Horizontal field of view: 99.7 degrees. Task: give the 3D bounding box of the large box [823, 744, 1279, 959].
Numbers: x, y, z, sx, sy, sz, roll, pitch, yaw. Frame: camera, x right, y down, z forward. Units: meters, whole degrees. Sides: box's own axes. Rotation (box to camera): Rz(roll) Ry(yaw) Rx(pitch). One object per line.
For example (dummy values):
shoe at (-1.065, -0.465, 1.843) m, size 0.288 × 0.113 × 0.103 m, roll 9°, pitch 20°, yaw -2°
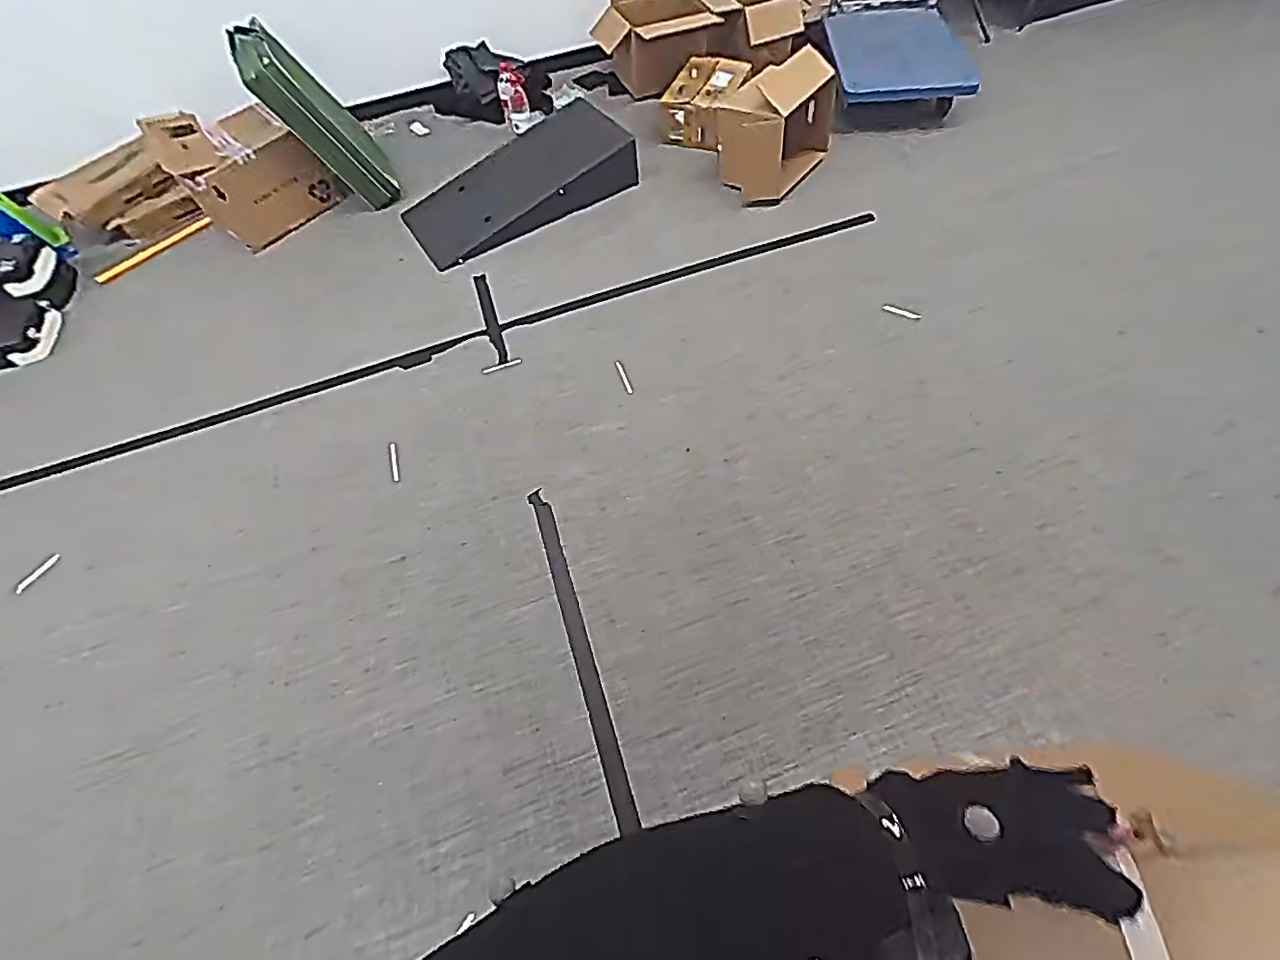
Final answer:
large box at (0.365, 0.478, 0.446) m, size 0.320 × 0.320 × 0.408 m, roll -11°, pitch 72°, yaw 11°
